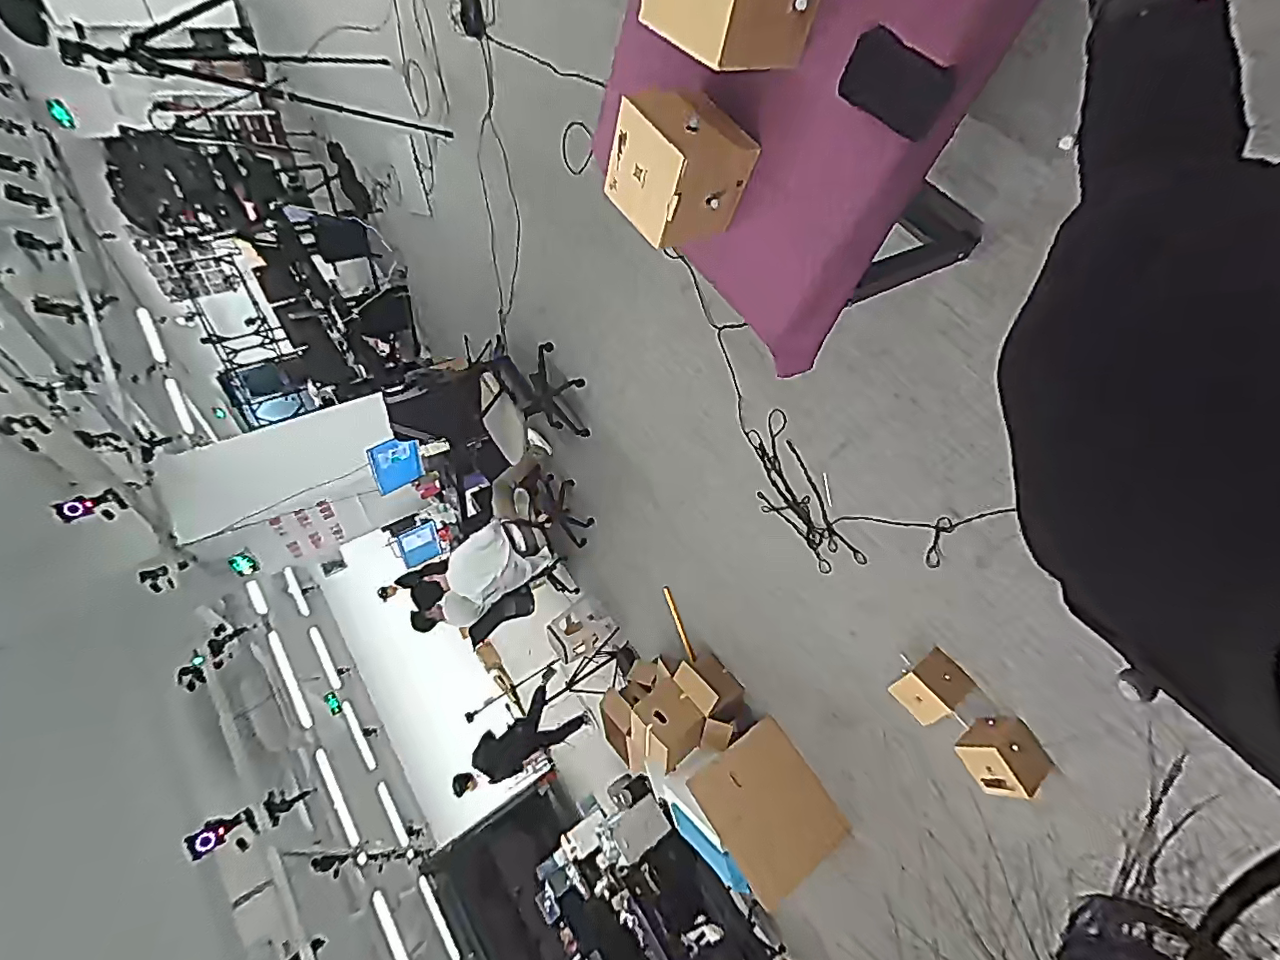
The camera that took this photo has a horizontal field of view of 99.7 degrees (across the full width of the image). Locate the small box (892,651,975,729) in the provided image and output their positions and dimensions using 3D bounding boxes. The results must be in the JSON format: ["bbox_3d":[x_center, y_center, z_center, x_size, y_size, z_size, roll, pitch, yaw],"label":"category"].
[{"bbox_3d":[1.040,0.734,1.905,0.168,0.176,0.179,48,149,26],"label":"small box"}]

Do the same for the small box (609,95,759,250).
[{"bbox_3d":[0.074,-0.538,0.938,0.179,0.176,0.168,53,150,18],"label":"small box"}]

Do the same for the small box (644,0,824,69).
[{"bbox_3d":[0.135,-0.677,0.718,0.179,0.176,0.168,51,150,22],"label":"small box"}]
